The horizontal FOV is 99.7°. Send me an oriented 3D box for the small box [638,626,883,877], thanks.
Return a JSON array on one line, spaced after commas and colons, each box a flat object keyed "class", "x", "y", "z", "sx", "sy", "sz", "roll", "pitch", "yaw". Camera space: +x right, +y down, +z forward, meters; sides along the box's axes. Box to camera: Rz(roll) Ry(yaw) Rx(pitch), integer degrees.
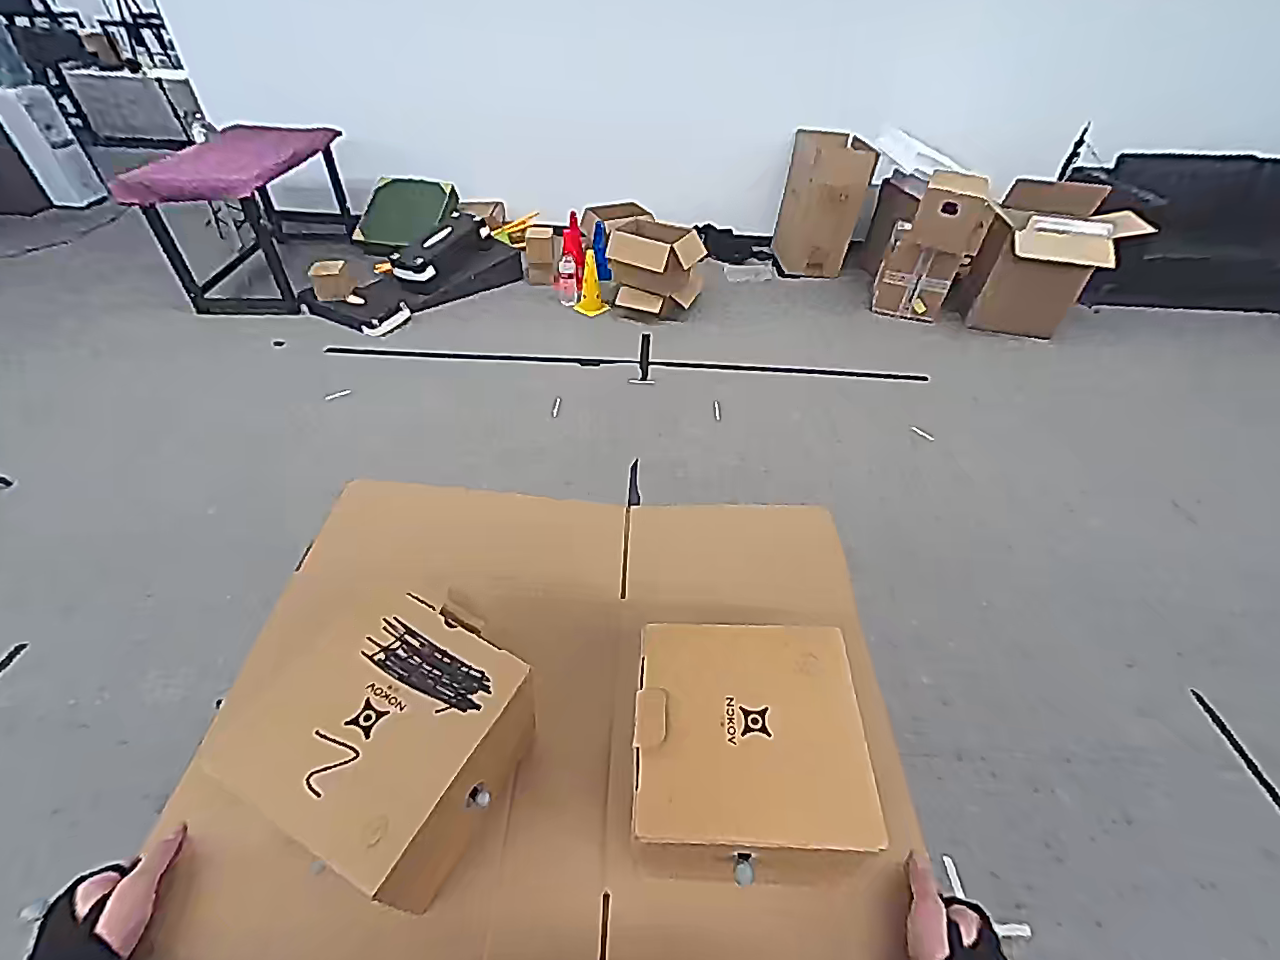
[{"class": "small box", "x": 0.093, "y": 0.250, "z": 0.496, "sx": 0.179, "sy": 0.176, "sz": 0.168, "roll": -1, "pitch": 47, "yaw": 4}]
